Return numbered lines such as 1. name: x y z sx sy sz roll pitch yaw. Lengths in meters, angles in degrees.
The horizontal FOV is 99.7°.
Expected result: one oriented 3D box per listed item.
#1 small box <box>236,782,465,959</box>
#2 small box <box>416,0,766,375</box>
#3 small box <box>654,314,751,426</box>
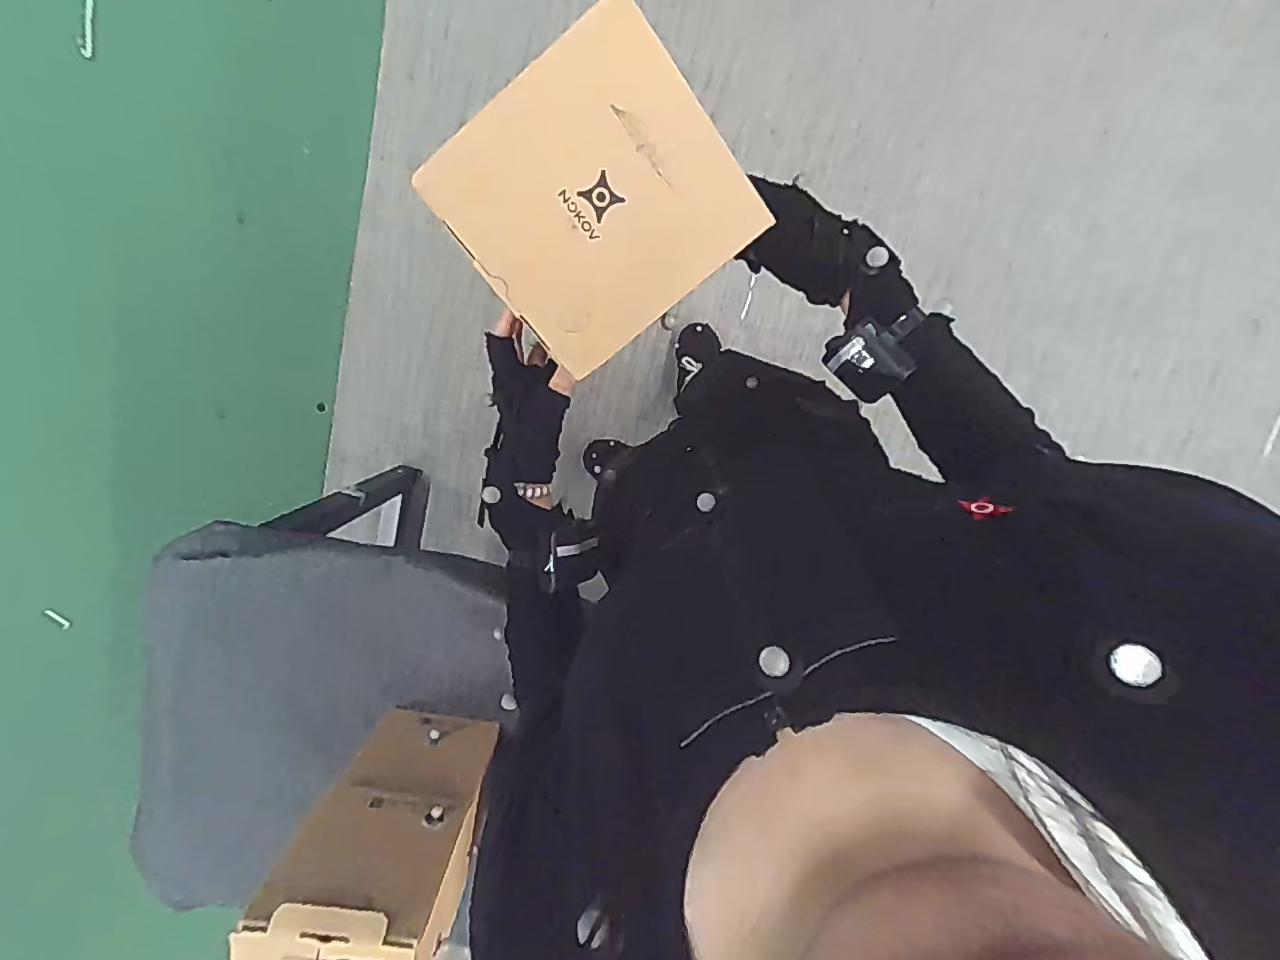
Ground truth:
1. small box: -0.301 0.467 0.589 0.168 0.176 0.179 10 102 -3
2. small box: -0.033 -0.206 0.431 0.179 0.176 0.168 -38 105 7
3. small box: 0.152 -0.273 1.358 0.168 0.176 0.179 39 73 21
